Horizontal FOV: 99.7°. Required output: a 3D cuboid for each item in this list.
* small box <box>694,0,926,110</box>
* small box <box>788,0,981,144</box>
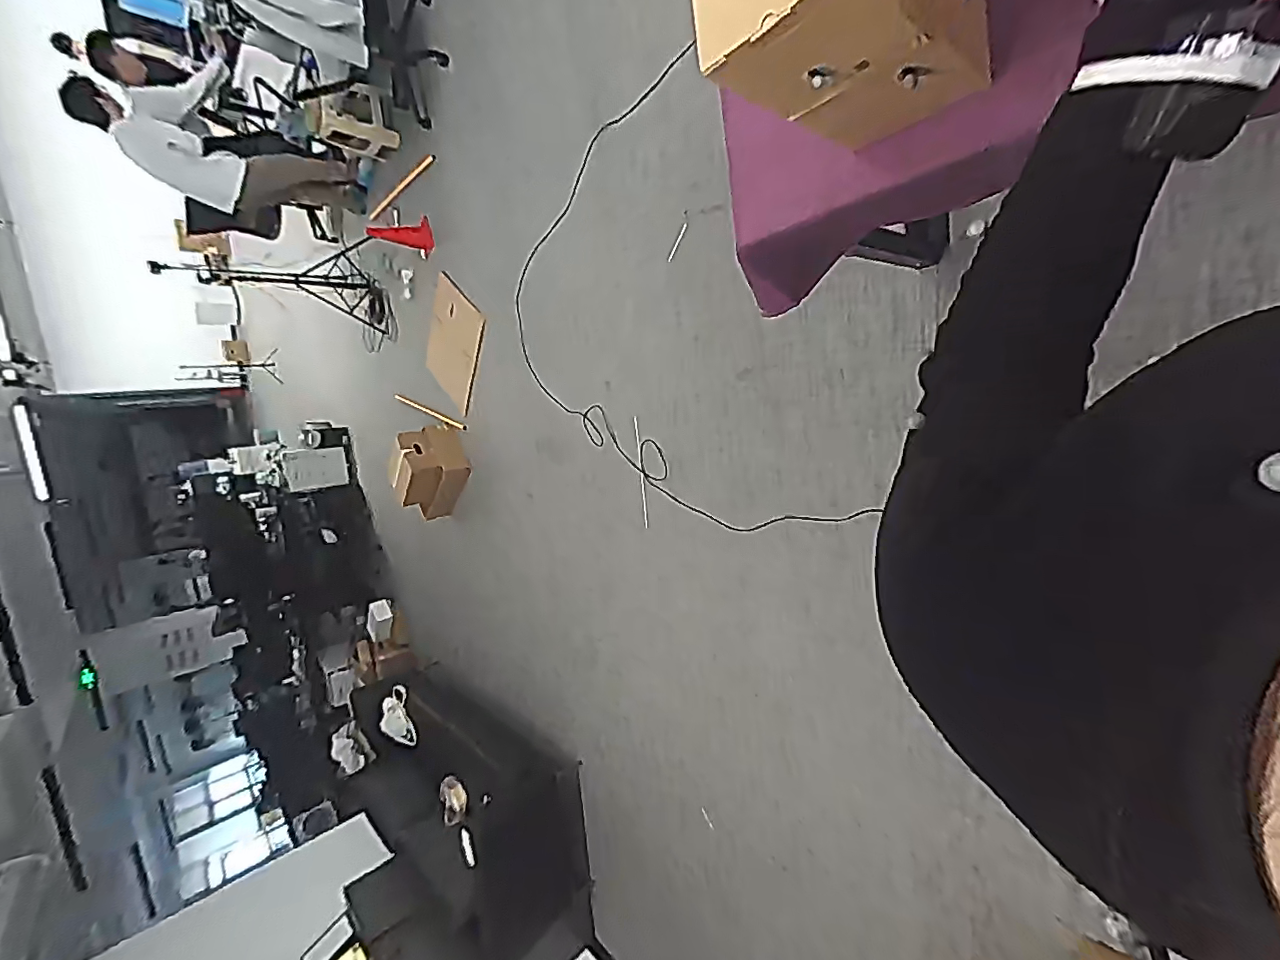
[{"bbox_3d":[0.169,-0.520,0.544,0.168,0.176,0.179,-1,100,48],"label":"small box"},{"bbox_3d":[0.291,-0.543,0.650,0.179,0.176,0.168,-1,99,48],"label":"small box"}]
